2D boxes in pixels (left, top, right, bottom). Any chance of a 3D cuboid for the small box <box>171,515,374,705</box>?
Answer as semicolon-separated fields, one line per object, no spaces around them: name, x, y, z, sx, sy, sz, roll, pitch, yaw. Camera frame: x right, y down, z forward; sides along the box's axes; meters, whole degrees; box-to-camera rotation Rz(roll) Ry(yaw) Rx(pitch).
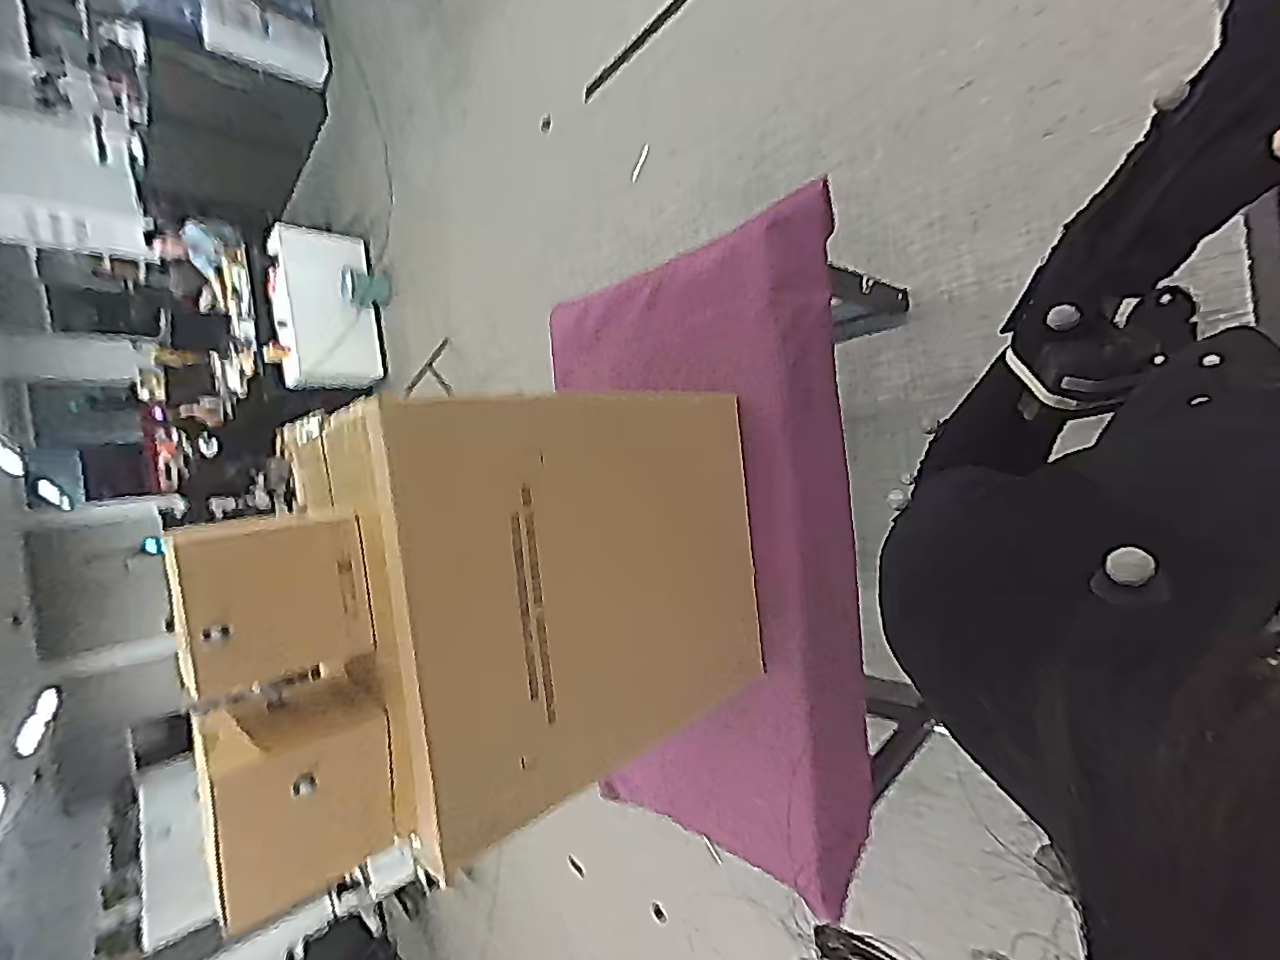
small box;-0.435;0.137;0.642;0.179;0.176;0.168;-5;94;48
